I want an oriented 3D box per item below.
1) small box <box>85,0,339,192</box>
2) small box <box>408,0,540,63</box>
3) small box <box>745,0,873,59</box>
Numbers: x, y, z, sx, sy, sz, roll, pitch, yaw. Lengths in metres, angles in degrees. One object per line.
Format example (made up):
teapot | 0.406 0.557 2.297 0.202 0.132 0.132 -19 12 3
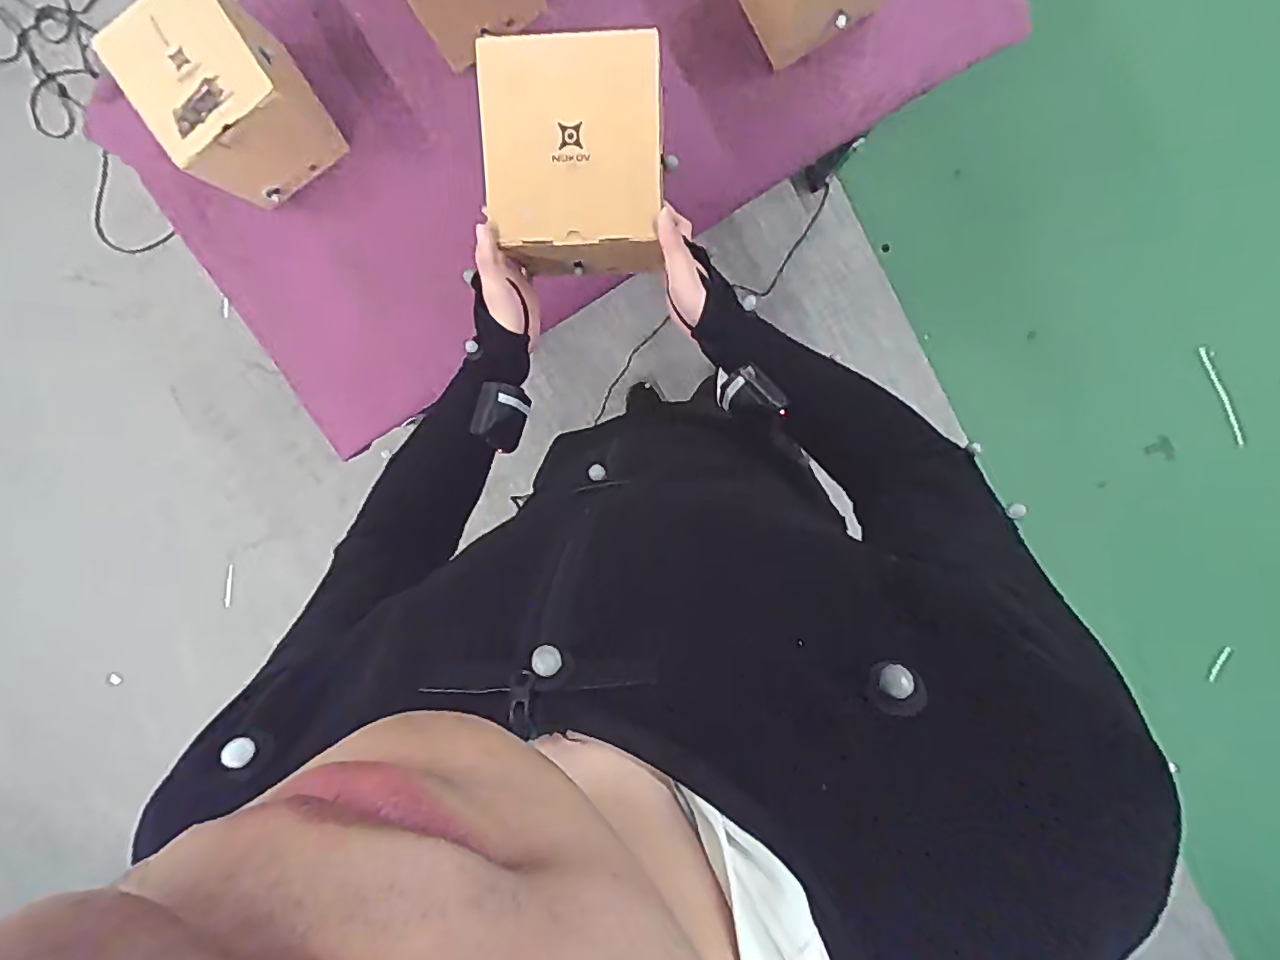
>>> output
small box | -0.562 -0.527 0.739 0.168 0.176 0.179 -32 97 6
small box | -0.254 -0.707 0.701 0.168 0.176 0.179 -30 98 7
small box | 0.215 -0.697 0.680 0.168 0.176 0.179 -29 96 8
